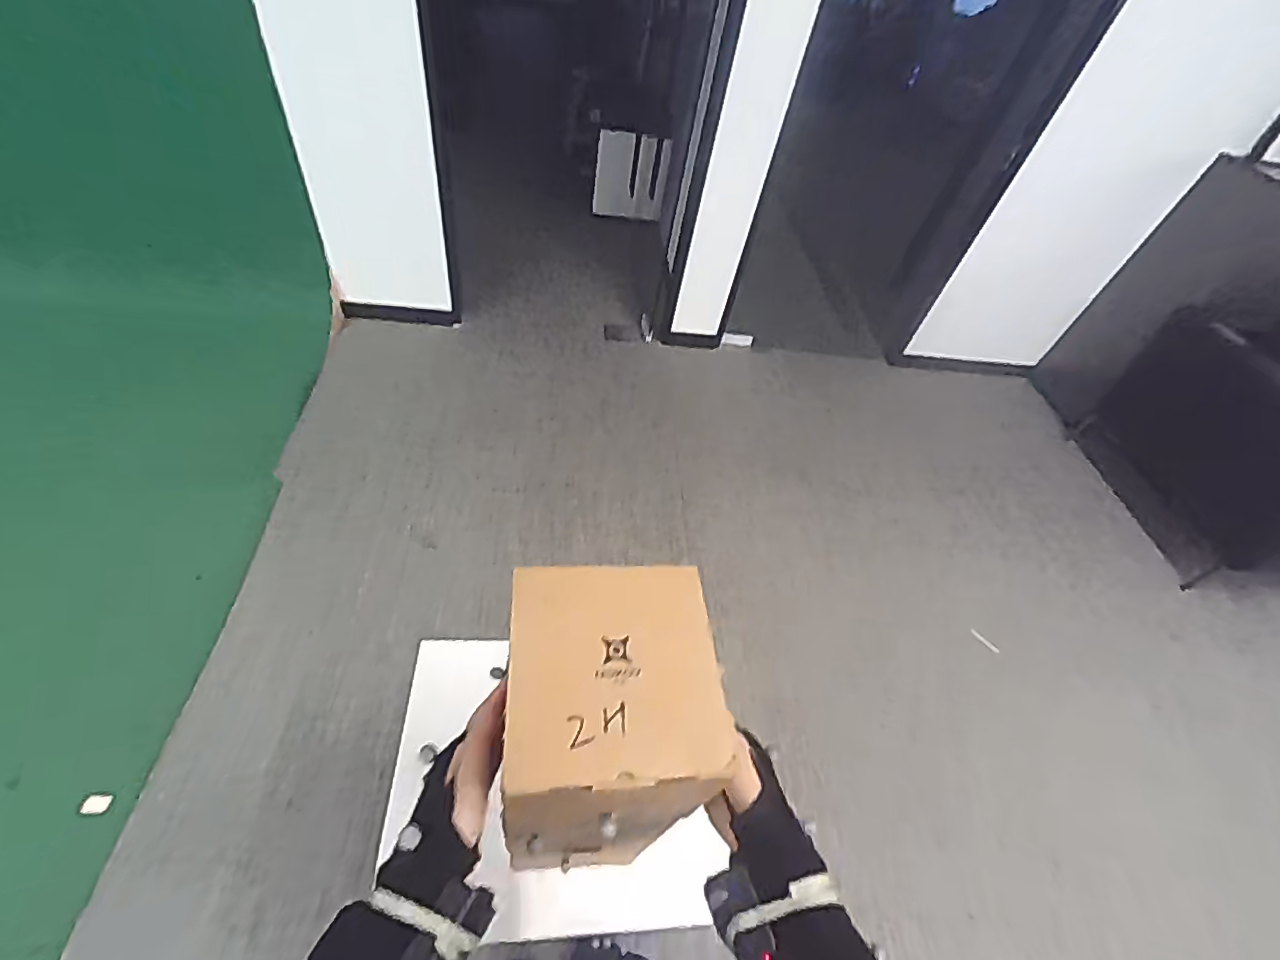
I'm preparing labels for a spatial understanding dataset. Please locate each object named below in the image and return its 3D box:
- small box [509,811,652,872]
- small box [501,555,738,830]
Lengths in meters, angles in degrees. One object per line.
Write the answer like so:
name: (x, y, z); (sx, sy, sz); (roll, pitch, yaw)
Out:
small box: (-0.083, 0.400, 0.720); (0.168, 0.176, 0.179); (3, 48, -9)
small box: (-0.031, 0.185, 0.476); (0.168, 0.176, 0.179); (1, 48, -10)
